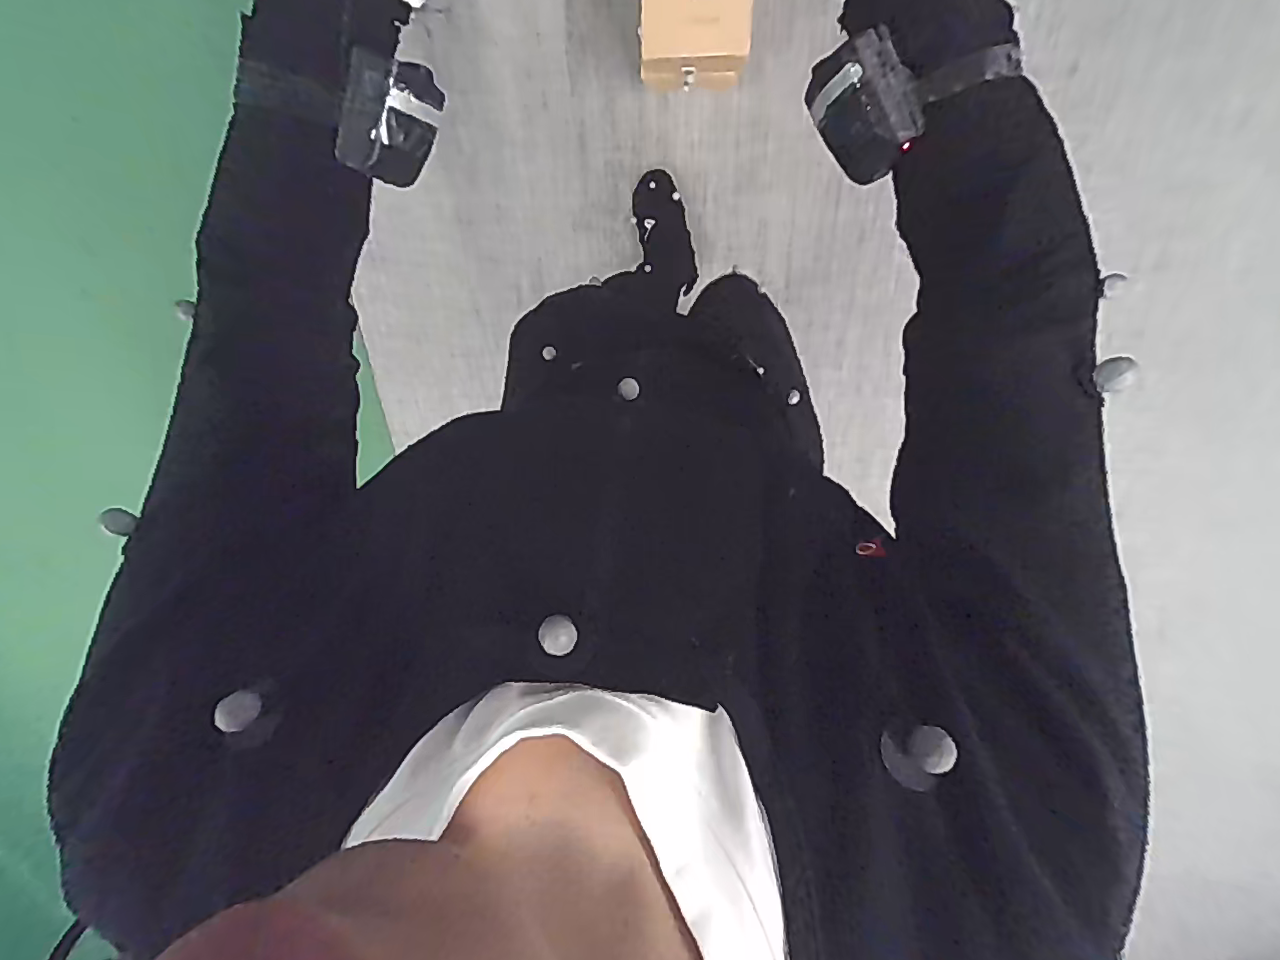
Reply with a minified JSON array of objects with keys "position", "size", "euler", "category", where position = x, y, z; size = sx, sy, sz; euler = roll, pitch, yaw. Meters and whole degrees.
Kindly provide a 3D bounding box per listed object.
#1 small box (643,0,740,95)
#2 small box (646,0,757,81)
[{"position":[0.102,-0.829,1.007],"size":[0.179,0.176,0.168],"euler":[3,119,6],"category":"small box"},{"position":[0.099,-0.759,0.861],"size":[0.168,0.176,0.179],"euler":[3,120,7],"category":"small box"}]
